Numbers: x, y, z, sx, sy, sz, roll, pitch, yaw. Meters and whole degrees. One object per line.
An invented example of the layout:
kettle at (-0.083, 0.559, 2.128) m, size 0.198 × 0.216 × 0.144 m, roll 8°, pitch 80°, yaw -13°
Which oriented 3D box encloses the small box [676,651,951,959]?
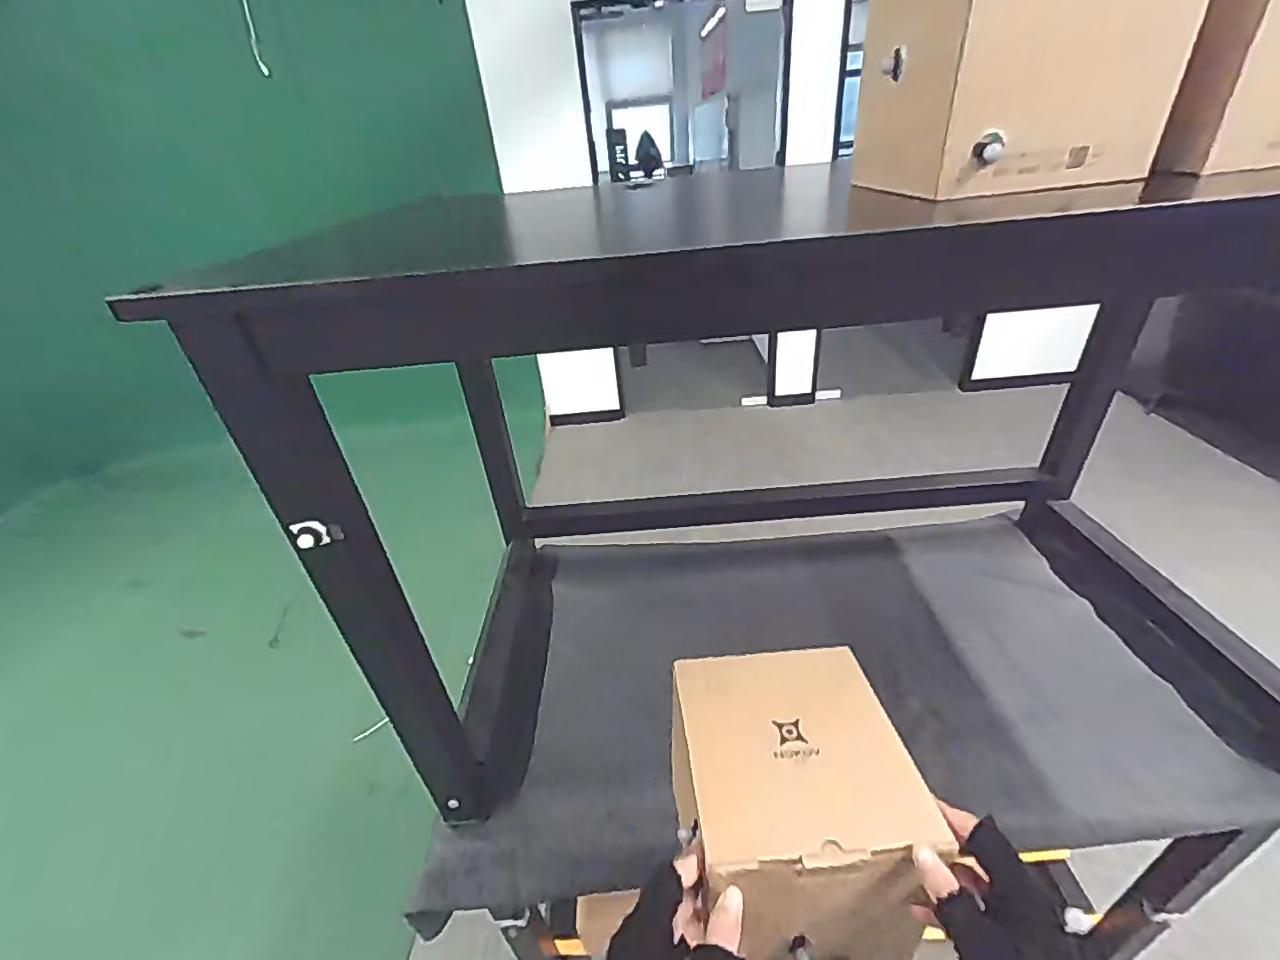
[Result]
small box at (0.121, 0.274, 0.462) m, size 0.168 × 0.176 × 0.179 m, roll -4°, pitch 28°, yaw -3°

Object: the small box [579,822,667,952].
small box at (-0.031, 0.864, 1.150) m, size 0.168 × 0.176 × 0.179 m, roll -5°, pitch 34°, yaw 2°
